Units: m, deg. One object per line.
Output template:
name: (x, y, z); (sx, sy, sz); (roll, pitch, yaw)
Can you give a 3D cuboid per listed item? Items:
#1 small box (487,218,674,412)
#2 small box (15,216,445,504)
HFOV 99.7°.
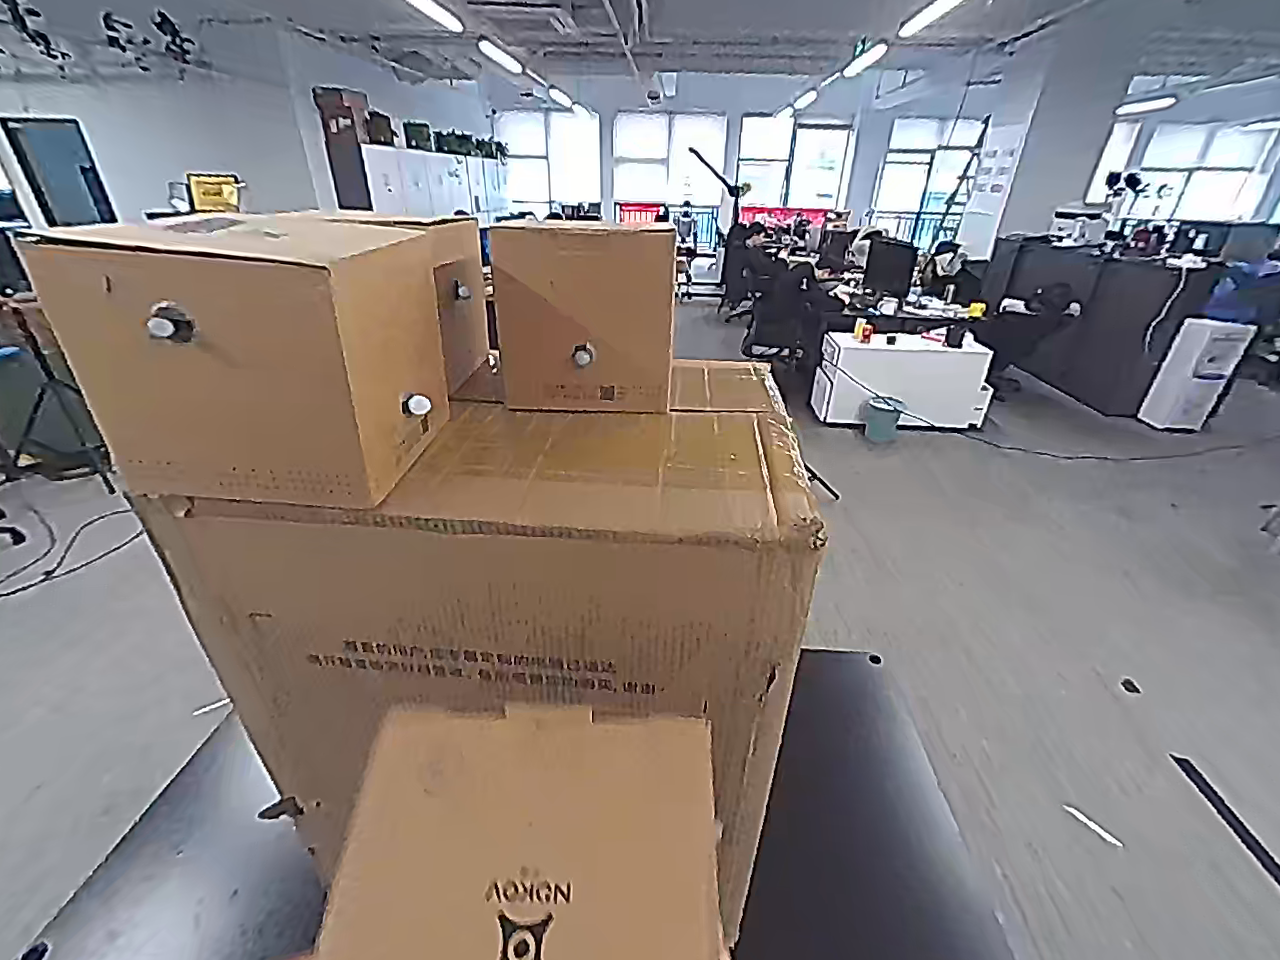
small box: (-0.050, -0.181, 0.574); (0.168, 0.176, 0.179); (1, 27, 2)
small box: (-0.265, -0.095, 0.406); (0.179, 0.176, 0.168); (5, 30, -1)
